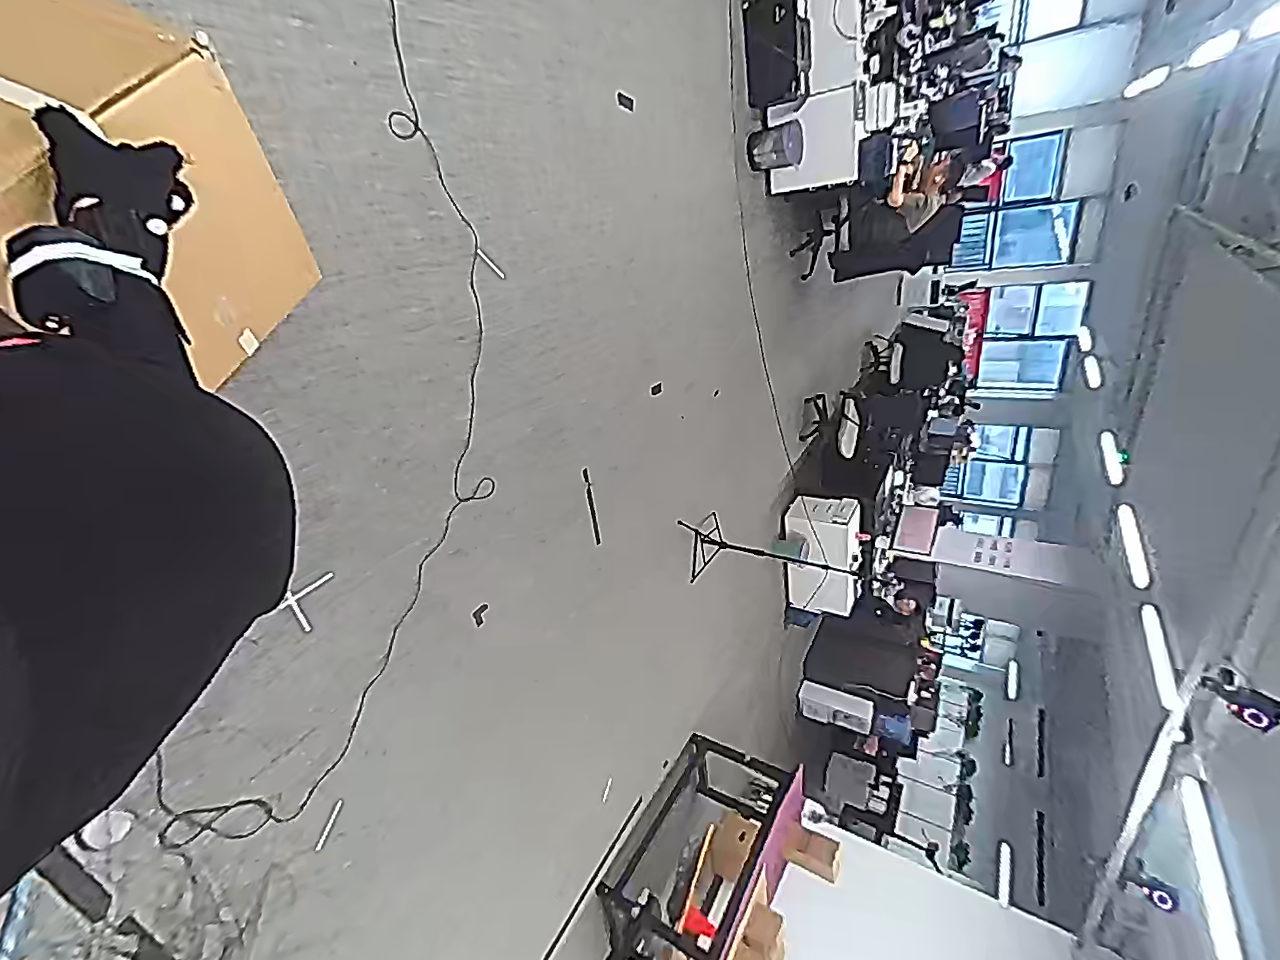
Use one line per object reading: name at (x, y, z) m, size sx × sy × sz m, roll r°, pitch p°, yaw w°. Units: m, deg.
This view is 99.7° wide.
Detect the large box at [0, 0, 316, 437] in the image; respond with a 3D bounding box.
large box at (-0.688, -0.308, 0.611) m, size 0.320 × 0.408 × 0.320 m, roll 115°, pitch -2°, yaw -65°
